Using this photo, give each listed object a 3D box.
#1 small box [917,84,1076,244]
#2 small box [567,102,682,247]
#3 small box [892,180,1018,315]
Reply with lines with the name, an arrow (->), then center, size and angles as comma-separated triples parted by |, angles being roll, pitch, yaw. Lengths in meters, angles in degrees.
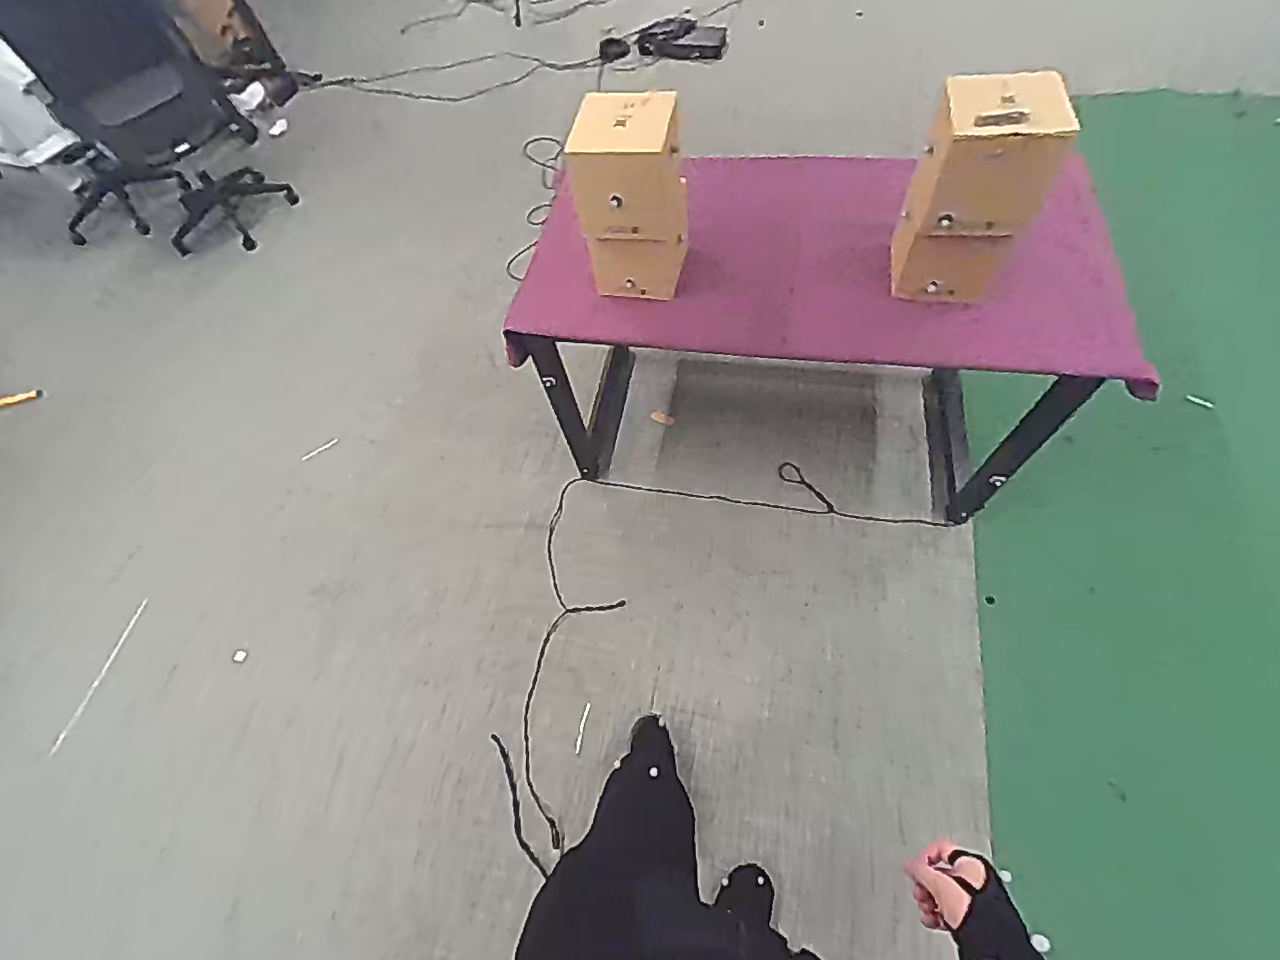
small box -> 0.568, -0.512, 0.890 | 0.168, 0.176, 0.179 | 6, 60, 13
small box -> -0.017, -0.552, 0.987 | 0.168, 0.176, 0.179 | 7, 63, 11
small box -> 0.594, -0.447, 1.039 | 0.168, 0.176, 0.179 | 8, 62, 14
